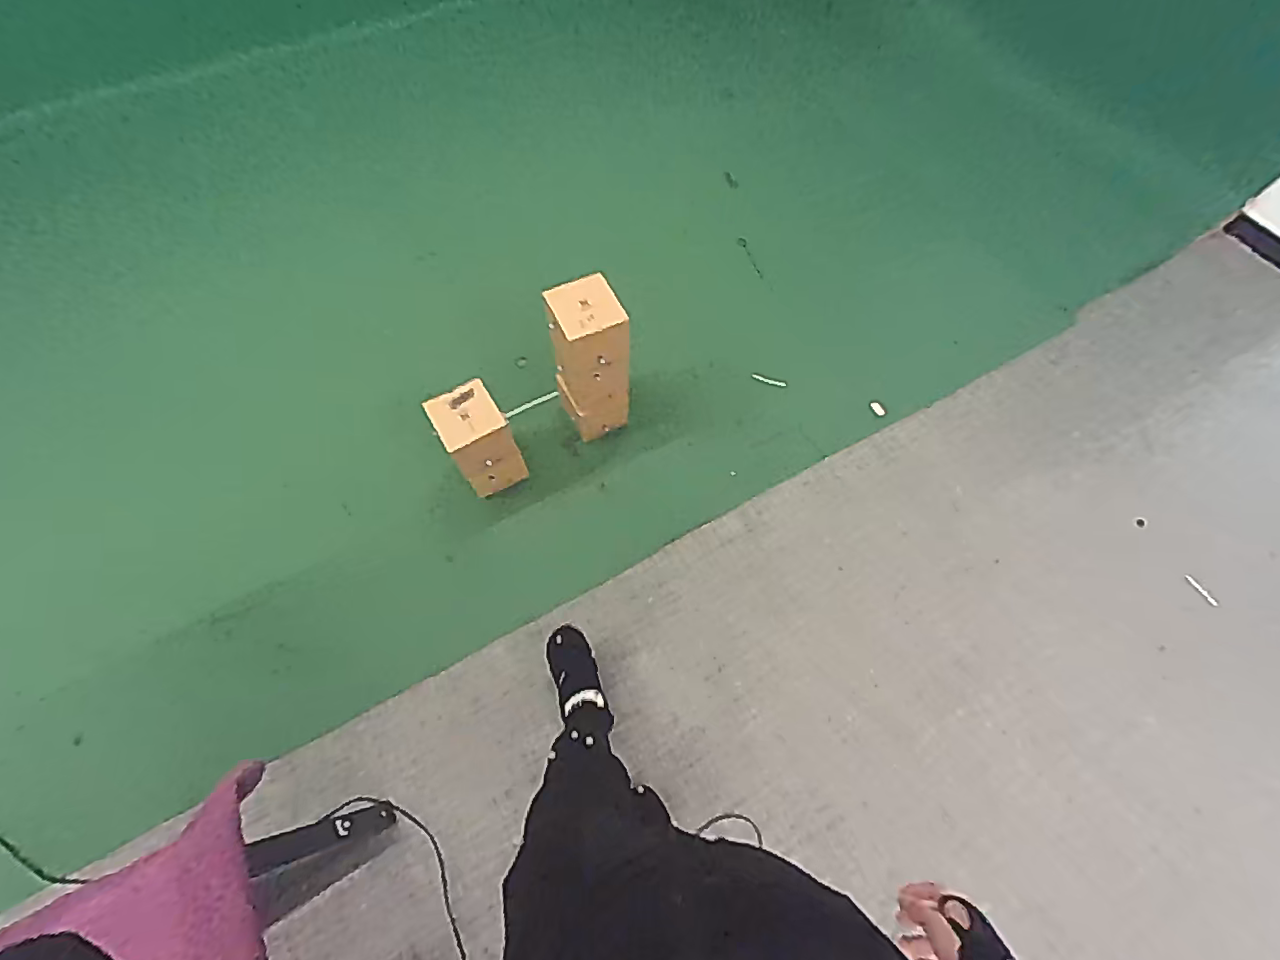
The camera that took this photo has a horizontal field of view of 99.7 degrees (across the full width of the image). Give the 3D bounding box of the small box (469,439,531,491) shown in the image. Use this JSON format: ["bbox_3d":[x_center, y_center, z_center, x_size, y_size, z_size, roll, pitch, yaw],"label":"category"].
[{"bbox_3d":[-0.448,-0.087,1.642,0.168,0.176,0.179,-26,67,-12],"label":"small box"}]

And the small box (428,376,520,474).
[{"bbox_3d":[-0.451,-0.147,1.489,0.168,0.176,0.179,-29,69,-13],"label":"small box"}]

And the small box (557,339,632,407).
[{"bbox_3d":[-0.134,-0.345,1.583,0.168,0.176,0.179,-23,67,-11],"label":"small box"}]

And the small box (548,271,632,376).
[{"bbox_3d":[-0.132,-0.410,1.432,0.168,0.176,0.179,-23,68,-11],"label":"small box"}]
